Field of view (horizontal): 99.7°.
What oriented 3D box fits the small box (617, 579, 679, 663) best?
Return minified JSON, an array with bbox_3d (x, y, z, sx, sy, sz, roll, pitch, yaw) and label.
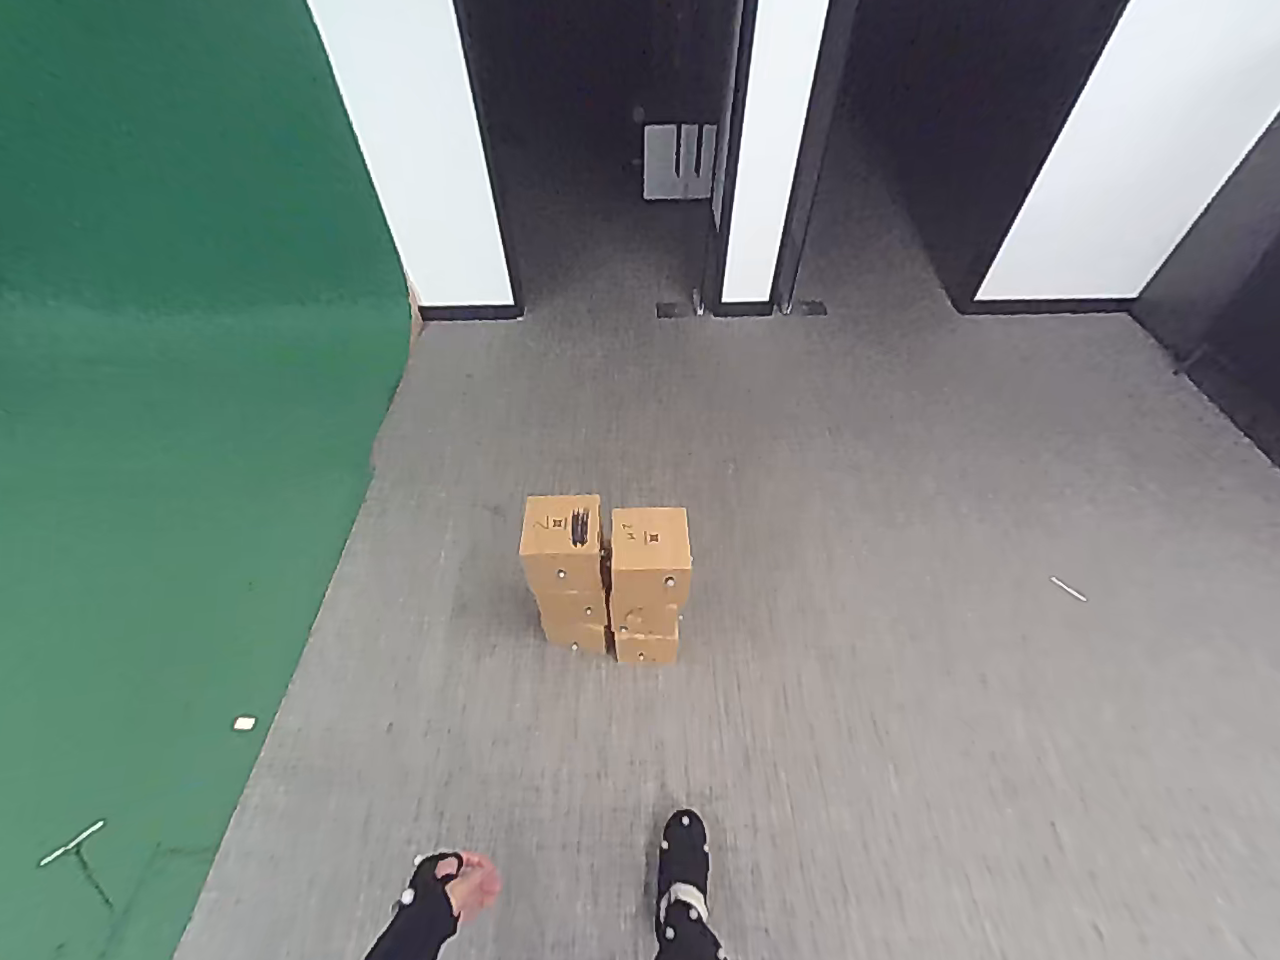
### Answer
[{"bbox_3d":[0.021,0.396,1.513,0.168,0.176,0.179,0,51,0],"label":"small box"}]
